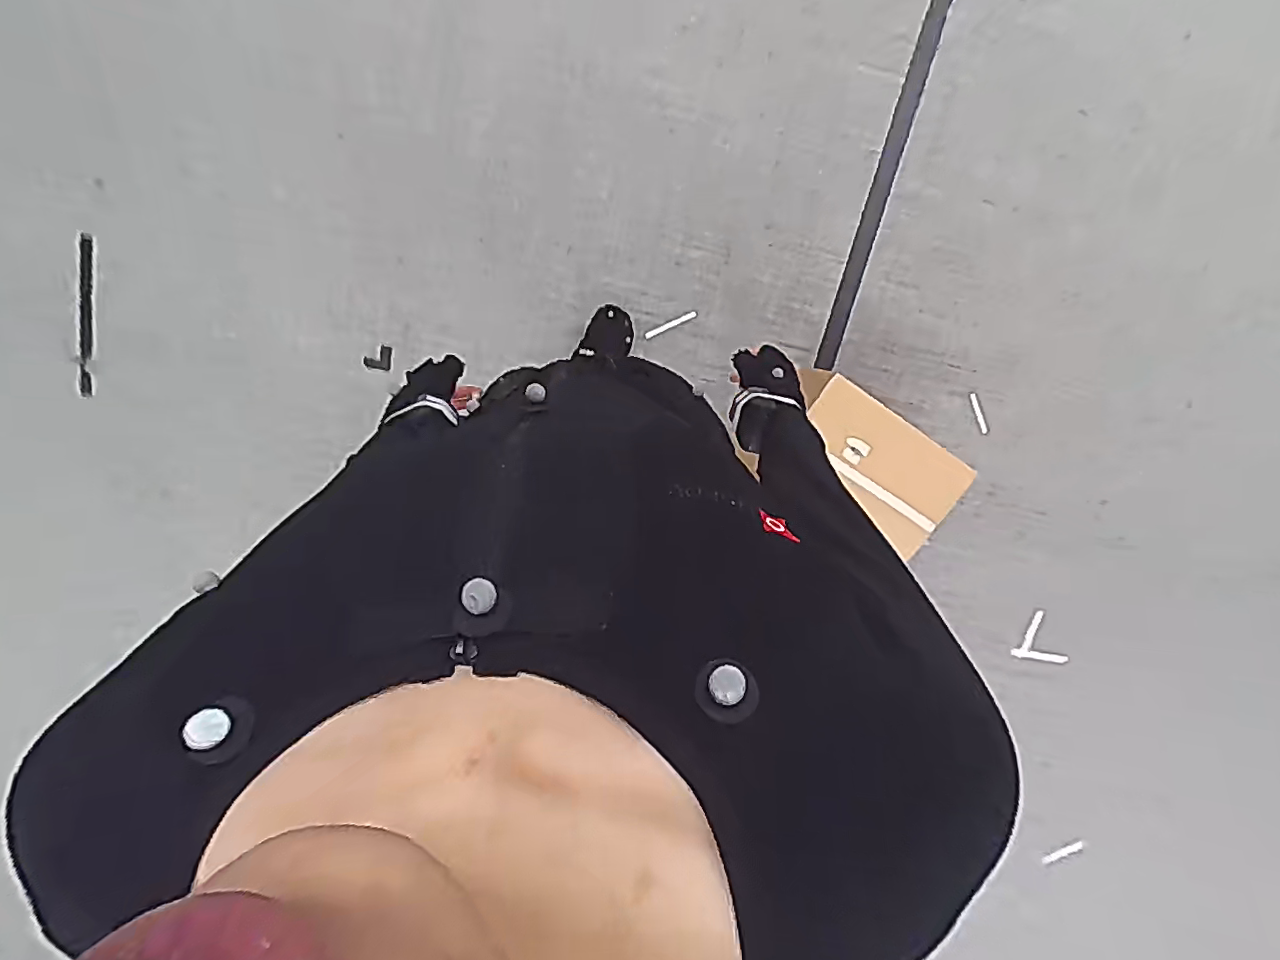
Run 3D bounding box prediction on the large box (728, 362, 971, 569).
[{"bbox_3d":[0.486,-0.051,1.339,0.408,0.320,0.320,32,102,-8],"label":"large box"}]
